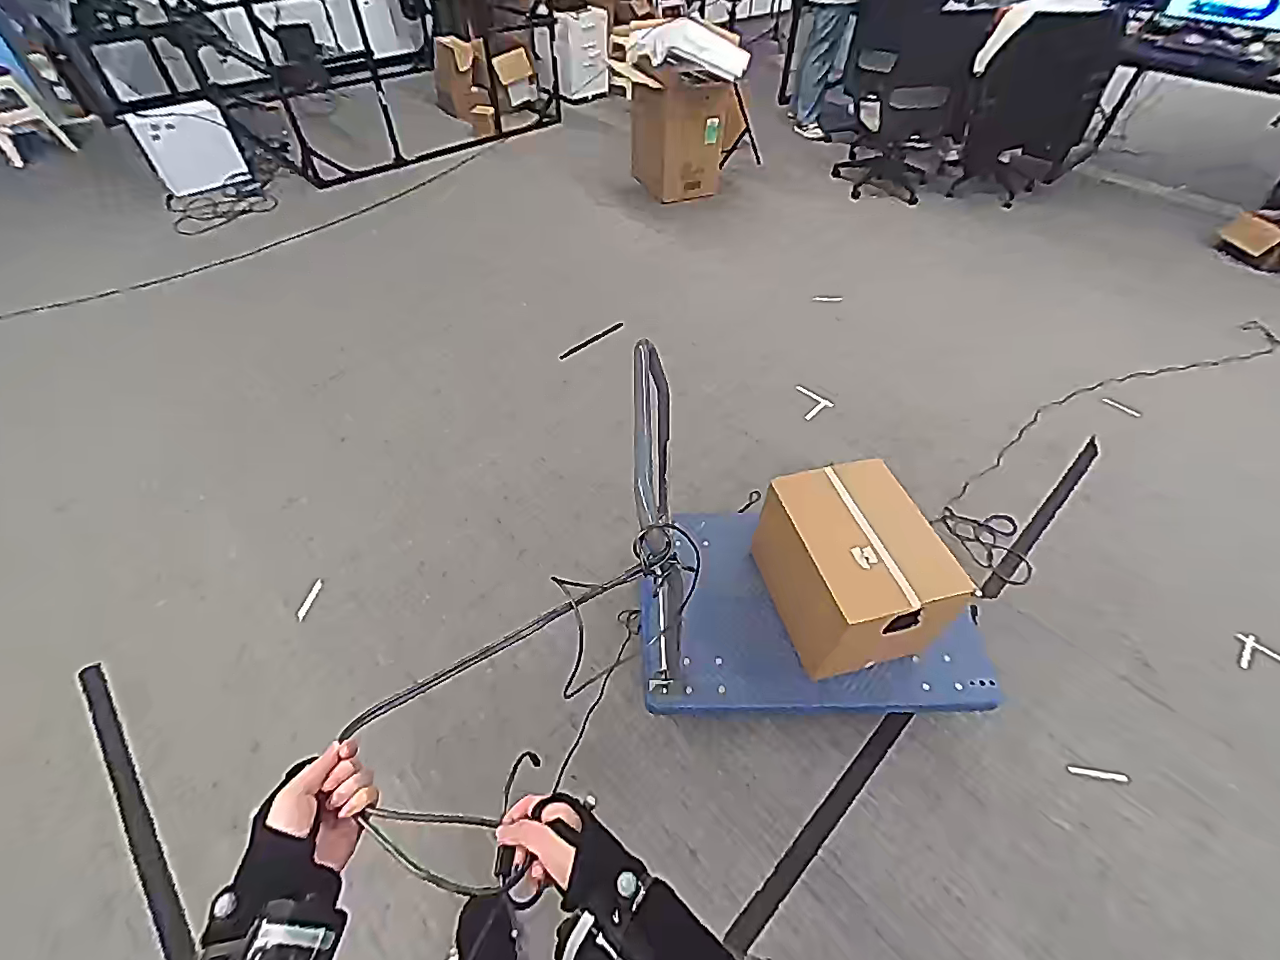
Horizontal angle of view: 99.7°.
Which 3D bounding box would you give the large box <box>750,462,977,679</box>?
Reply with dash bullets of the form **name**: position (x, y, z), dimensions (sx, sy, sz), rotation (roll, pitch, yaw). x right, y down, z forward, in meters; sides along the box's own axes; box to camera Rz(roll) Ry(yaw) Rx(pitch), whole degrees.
- **large box**: position (0.513, 0.220, 1.352), dimensions (0.320, 0.320, 0.408), rotation (-11, 51, -10)
